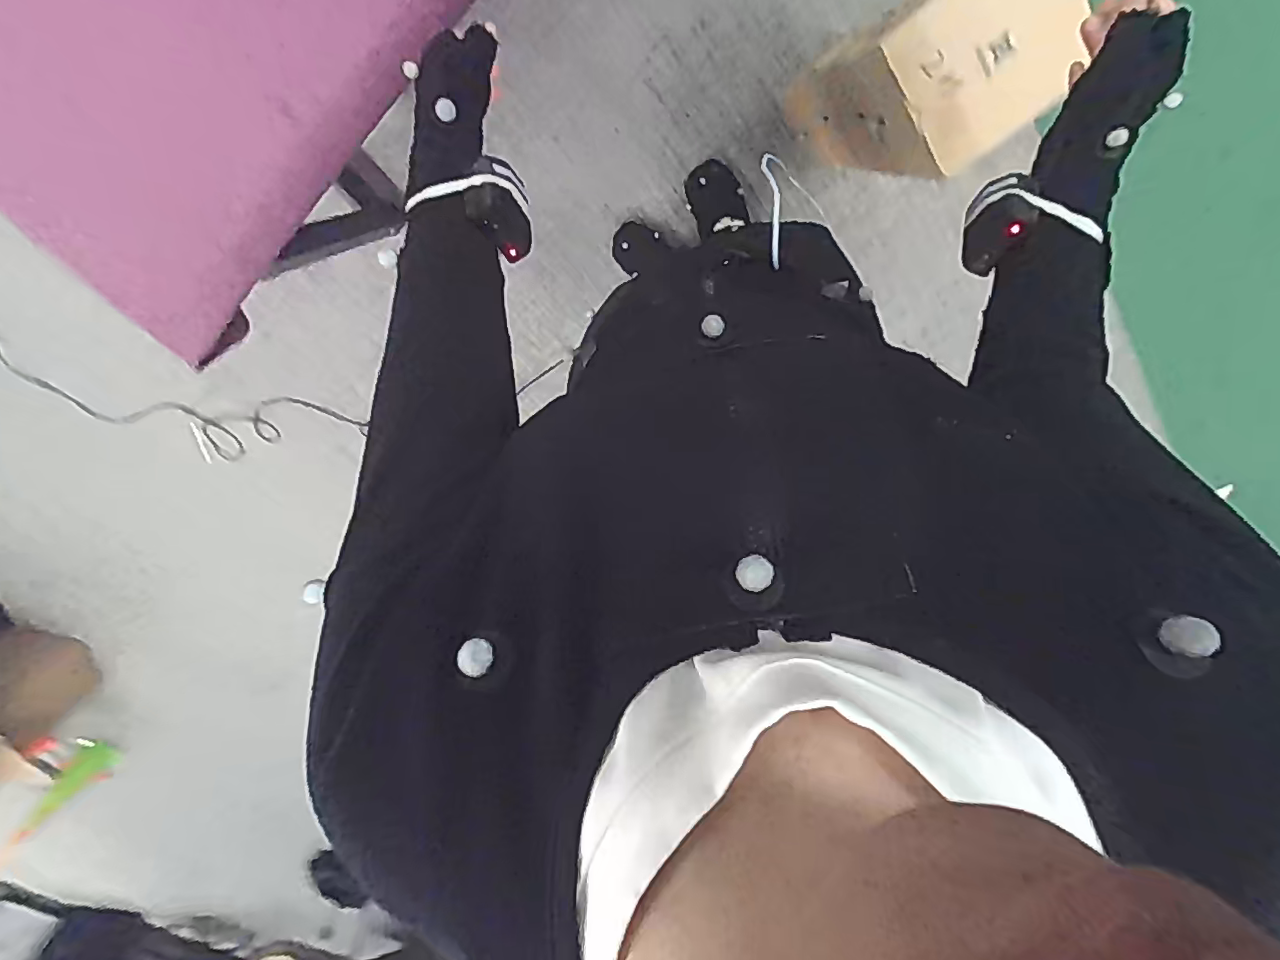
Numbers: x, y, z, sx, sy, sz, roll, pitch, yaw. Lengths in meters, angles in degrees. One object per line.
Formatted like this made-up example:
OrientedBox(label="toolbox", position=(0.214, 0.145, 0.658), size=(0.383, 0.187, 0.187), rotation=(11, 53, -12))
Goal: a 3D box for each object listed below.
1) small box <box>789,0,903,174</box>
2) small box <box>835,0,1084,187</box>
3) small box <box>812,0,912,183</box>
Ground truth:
OrientedBox(label="small box", position=(0.377, -0.661, 0.924), size=(0.168, 0.176, 0.179), rotation=(-30, 115, 20))
OrientedBox(label="small box", position=(0.365, -0.487, 0.647), size=(0.179, 0.176, 0.168), rotation=(-33, 114, 22))
OrientedBox(label="small box", position=(0.376, -0.571, 0.789), size=(0.168, 0.176, 0.179), rotation=(-31, 115, 21))
